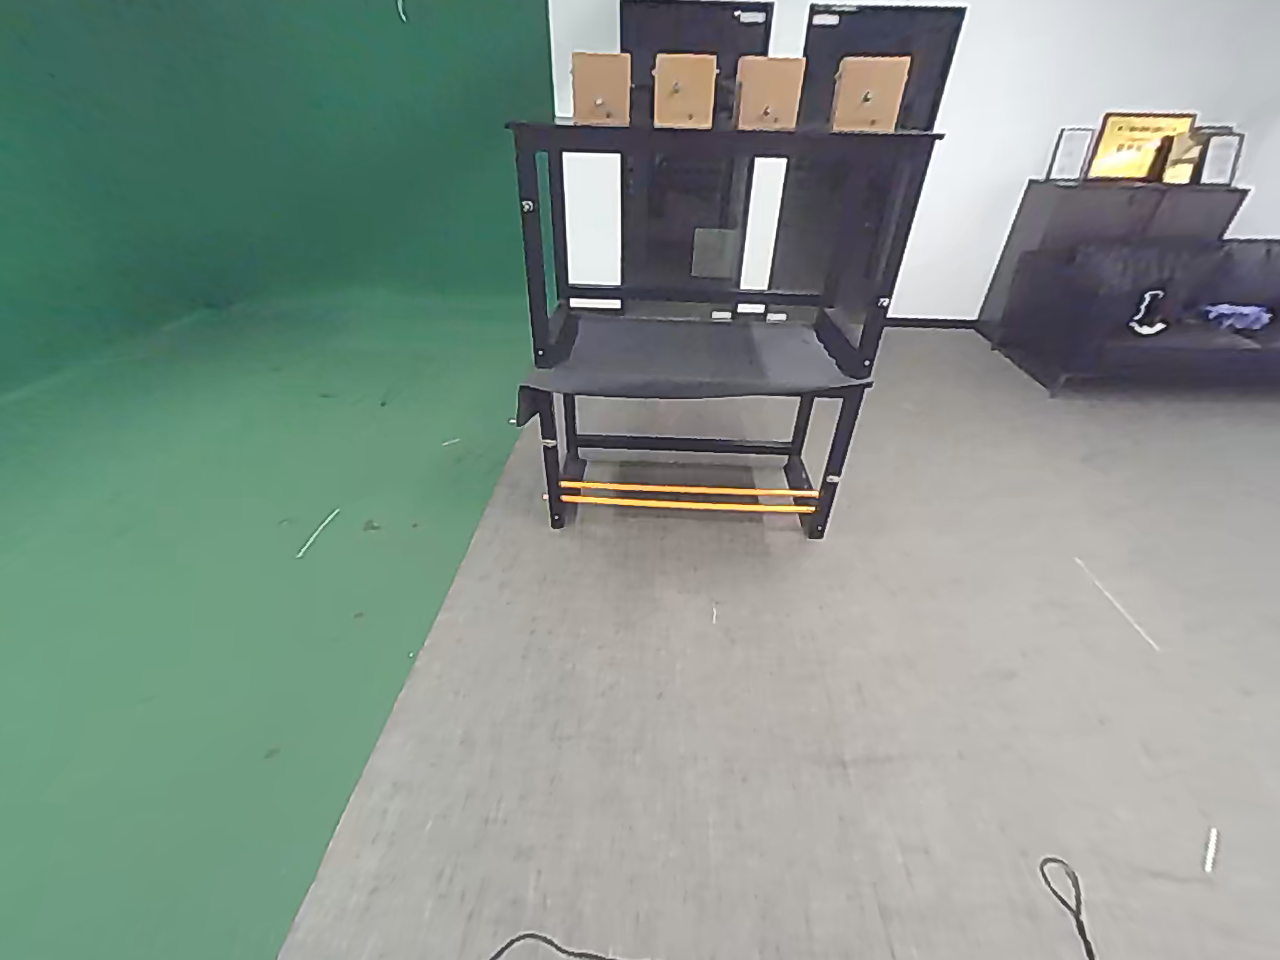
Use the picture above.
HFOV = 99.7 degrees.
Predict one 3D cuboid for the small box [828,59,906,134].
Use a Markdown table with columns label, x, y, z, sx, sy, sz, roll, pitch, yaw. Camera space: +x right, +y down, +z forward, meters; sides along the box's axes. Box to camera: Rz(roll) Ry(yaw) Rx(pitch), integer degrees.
| label | x | y | z | sx | sy | sz | roll | pitch | yaw |
| --- | --- | --- | --- | --- | --- | --- | --- | --- | --- |
| small box | 0.641 | -1.094 | 1.547 | 0.168 | 0.176 | 0.179 | 8 | 35 | 10 |

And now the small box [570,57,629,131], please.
| label | x | y | z | sx | sy | sz | roll | pitch | yaw |
| --- | --- | --- | --- | --- | --- | --- | --- | --- | --- |
| small box | -0.116 | -1.152 | 1.616 | 0.168 | 0.176 | 0.179 | 0 | 36 | -1 |

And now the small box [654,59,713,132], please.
| label | x | y | z | sx | sy | sz | roll | pitch | yaw |
| --- | --- | --- | --- | --- | --- | --- | --- | --- | --- |
| small box | 0.128 | -1.129 | 1.593 | 0.168 | 0.176 | 0.179 | 3 | 35 | 3 |
